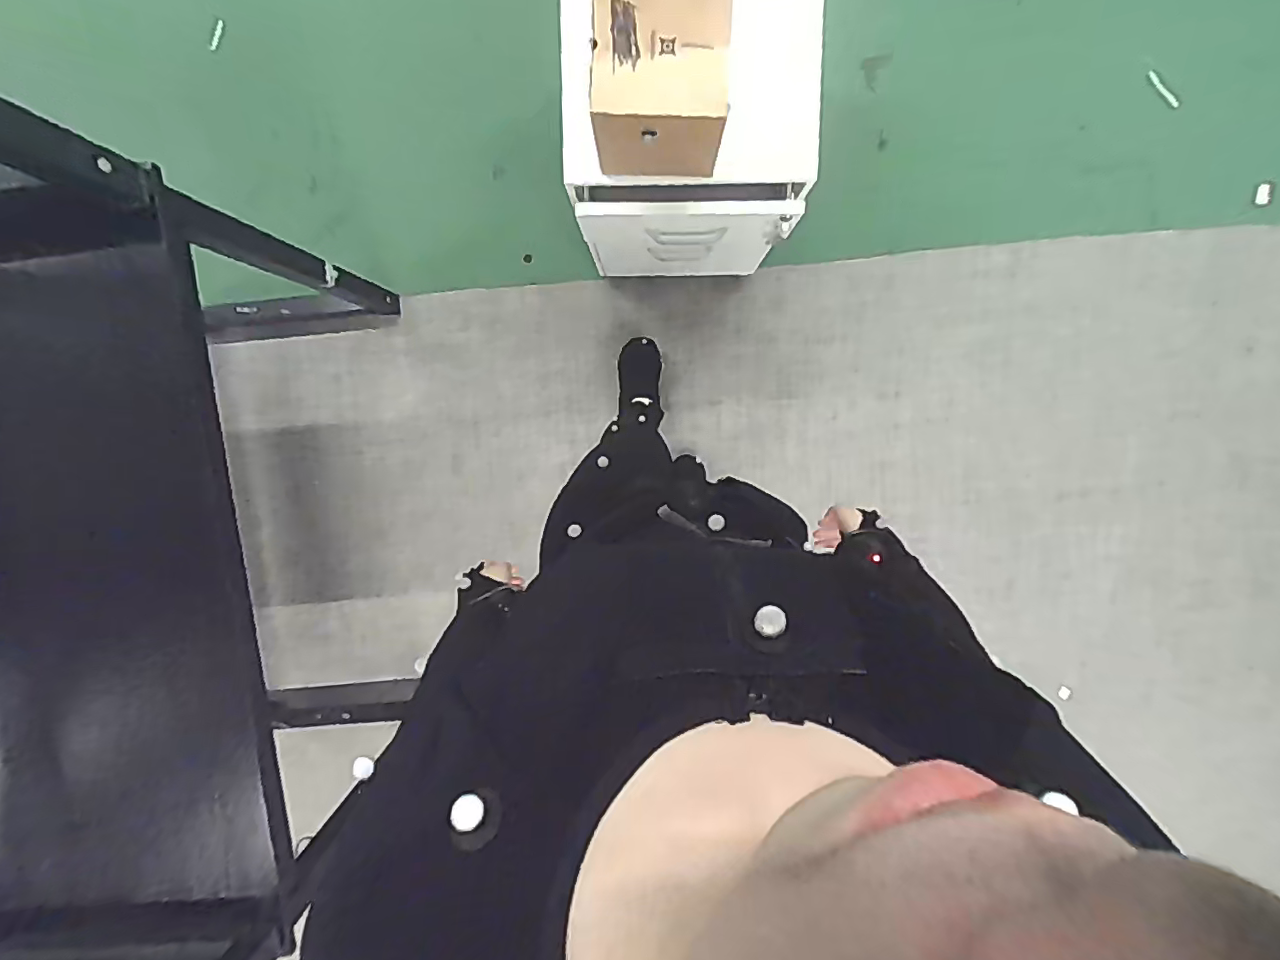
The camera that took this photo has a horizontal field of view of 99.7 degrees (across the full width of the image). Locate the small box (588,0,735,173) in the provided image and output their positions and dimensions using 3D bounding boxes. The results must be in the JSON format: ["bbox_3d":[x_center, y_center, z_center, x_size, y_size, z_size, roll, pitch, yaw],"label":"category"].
[{"bbox_3d":[0.028,-0.541,0.736,0.179,0.176,0.168,2,96,0],"label":"small box"}]
